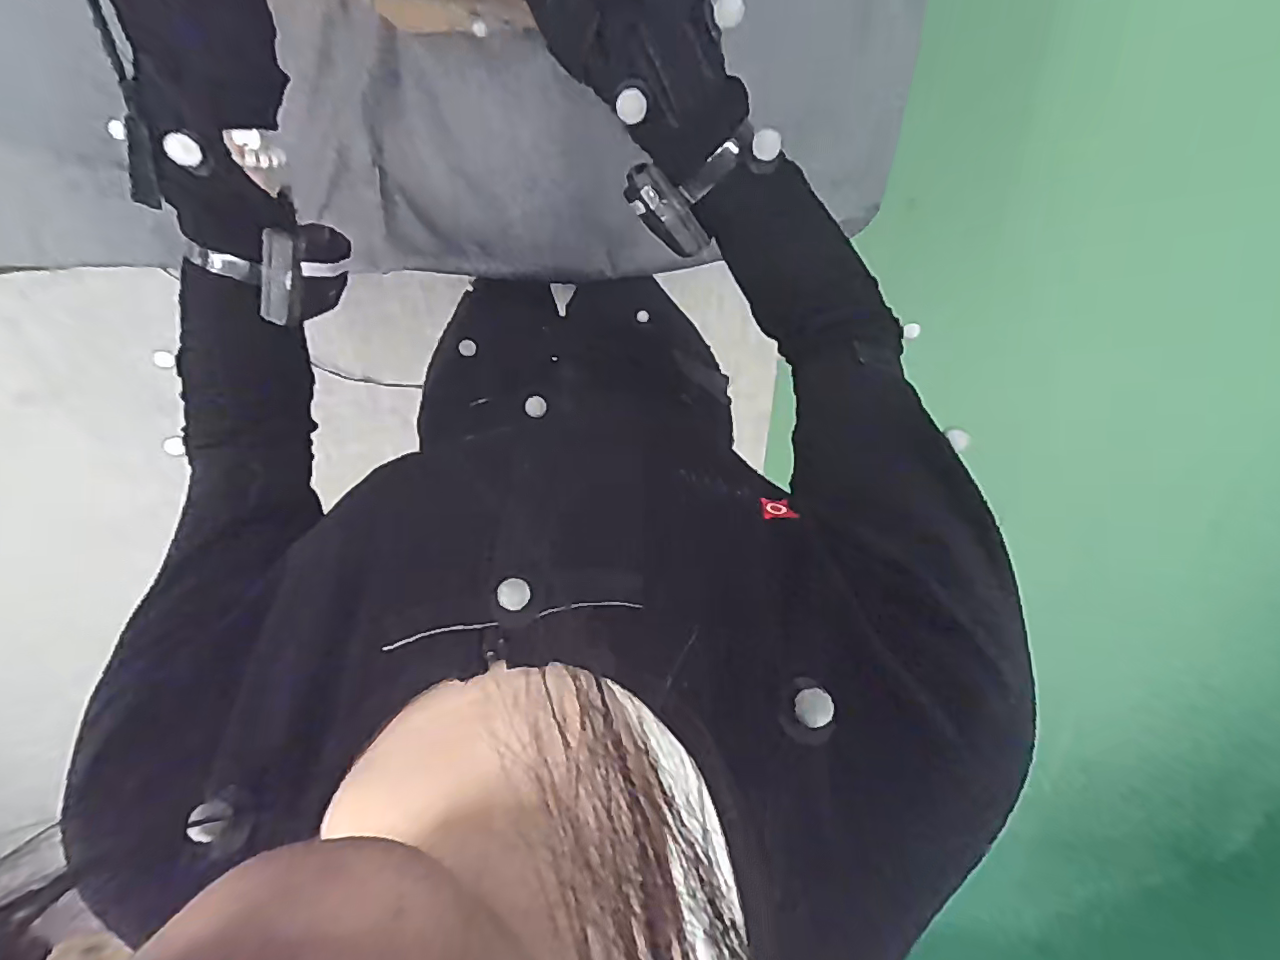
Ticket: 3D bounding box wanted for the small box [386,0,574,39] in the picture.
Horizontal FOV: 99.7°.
[{"bbox_3d":[-0.143,-0.480,0.425,0.168,0.176,0.179,-4,119,-2],"label":"small box"}]
